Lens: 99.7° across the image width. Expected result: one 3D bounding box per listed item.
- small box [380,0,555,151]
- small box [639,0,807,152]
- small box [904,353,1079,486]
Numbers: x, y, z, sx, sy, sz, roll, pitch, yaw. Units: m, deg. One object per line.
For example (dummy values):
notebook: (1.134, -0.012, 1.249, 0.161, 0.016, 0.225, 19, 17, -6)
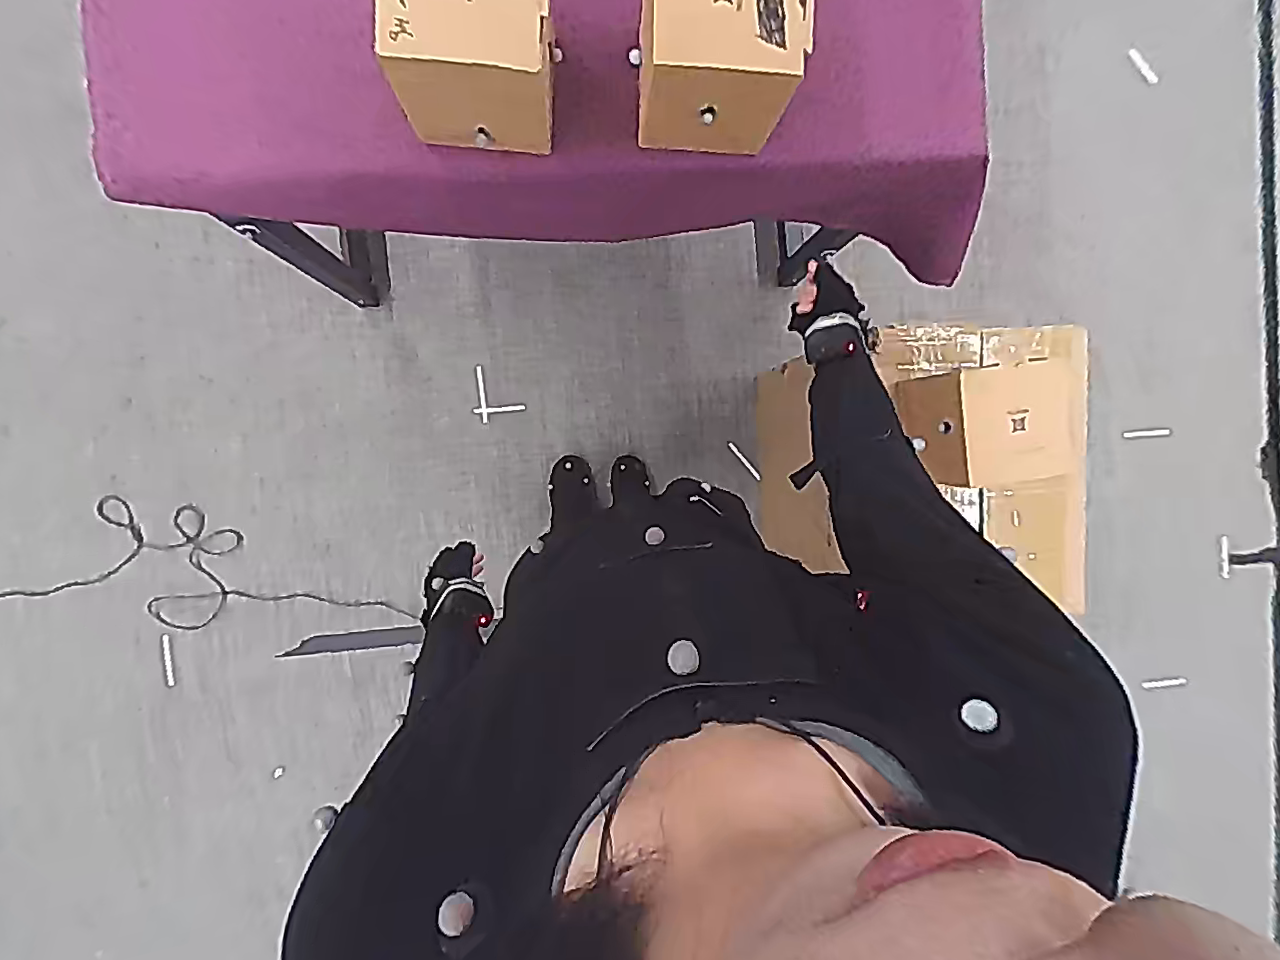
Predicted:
small box: (-0.195, -0.531, 0.656, 0.179, 0.176, 0.168, 2, 92, -6)
small box: (0.096, -0.545, 0.684, 0.179, 0.176, 0.168, 1, 92, -5)
small box: (0.542, -0.092, 0.855, 0.168, 0.176, 0.179, -8, 95, -2)
